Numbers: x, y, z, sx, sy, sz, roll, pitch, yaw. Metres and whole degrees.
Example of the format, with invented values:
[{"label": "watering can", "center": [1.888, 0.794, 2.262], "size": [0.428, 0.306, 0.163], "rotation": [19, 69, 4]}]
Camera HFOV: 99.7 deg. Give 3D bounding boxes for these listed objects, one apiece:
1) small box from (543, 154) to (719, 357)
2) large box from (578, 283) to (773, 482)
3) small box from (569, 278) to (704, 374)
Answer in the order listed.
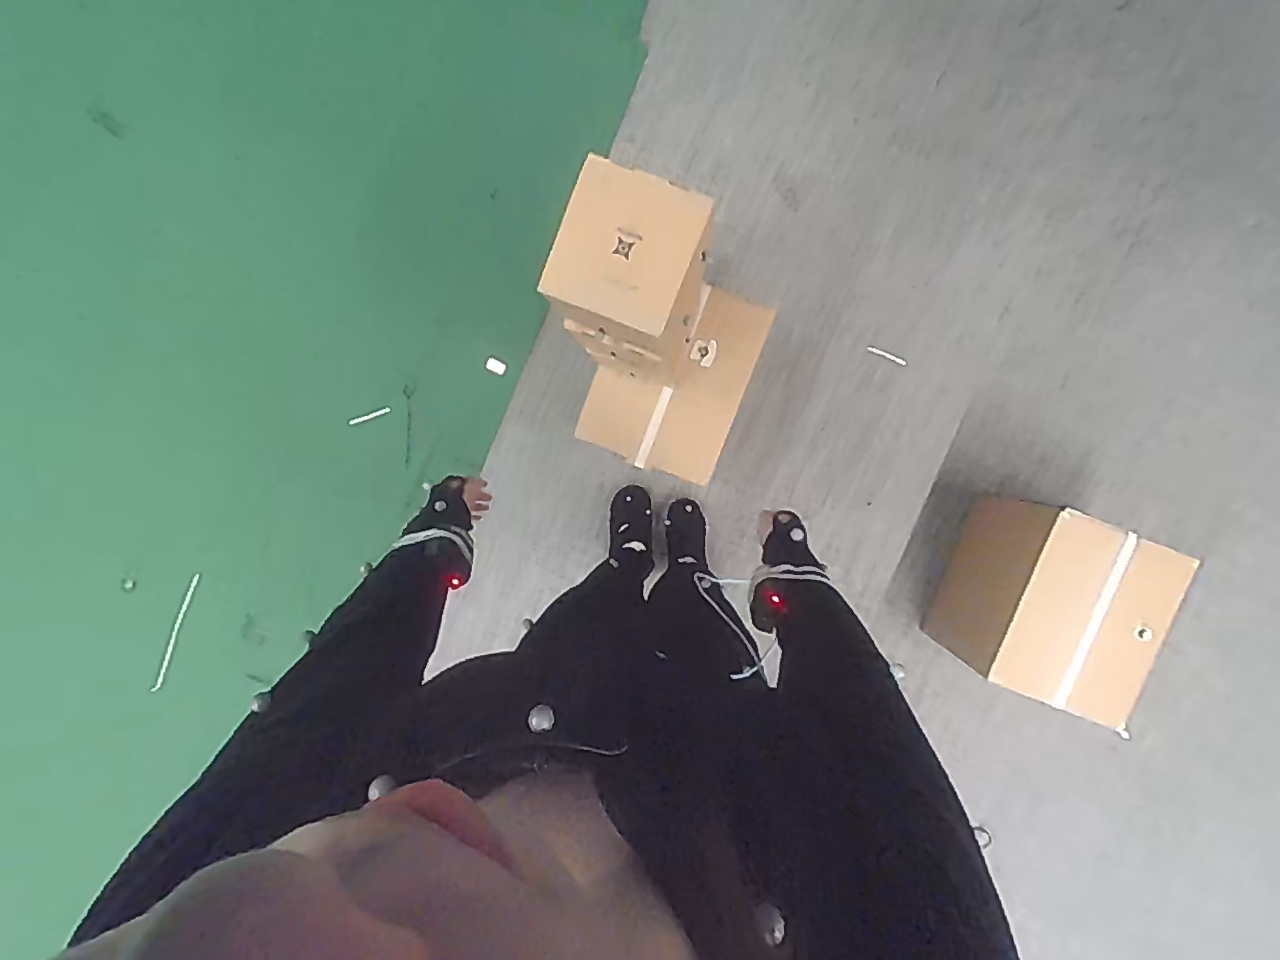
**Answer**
[{"label": "small box", "center": [-0.006, -0.286, 0.730], "size": [0.168, 0.176, 0.179], "rotation": [23, 96, 4]}, {"label": "large box", "center": [0.081, -0.235, 1.302], "size": [0.320, 0.320, 0.408], "rotation": [21, 94, 1]}, {"label": "small box", "center": [0.002, -0.291, 0.893], "size": [0.168, 0.176, 0.179], "rotation": [21, 96, 4]}]
